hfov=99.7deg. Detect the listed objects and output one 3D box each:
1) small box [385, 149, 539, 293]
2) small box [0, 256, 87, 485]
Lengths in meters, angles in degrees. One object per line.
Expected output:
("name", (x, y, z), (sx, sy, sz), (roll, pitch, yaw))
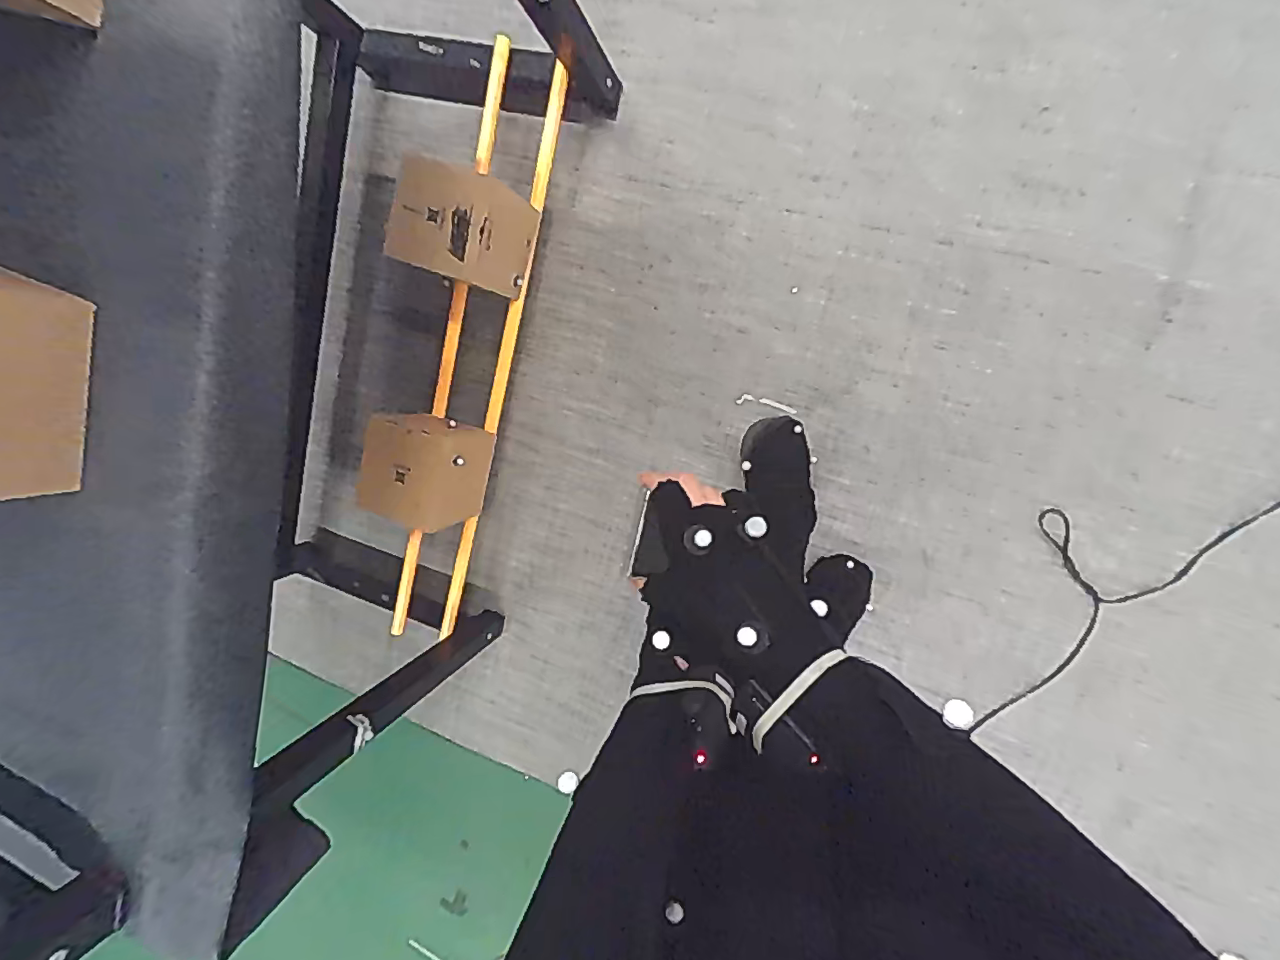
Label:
("small box", (-0.300, -0.436, 0.940), (0.179, 0.176, 0.168), (21, 103, 12))
("small box", (-0.585, -0.094, 0.416), (0.168, 0.176, 0.179), (21, 103, 12))
